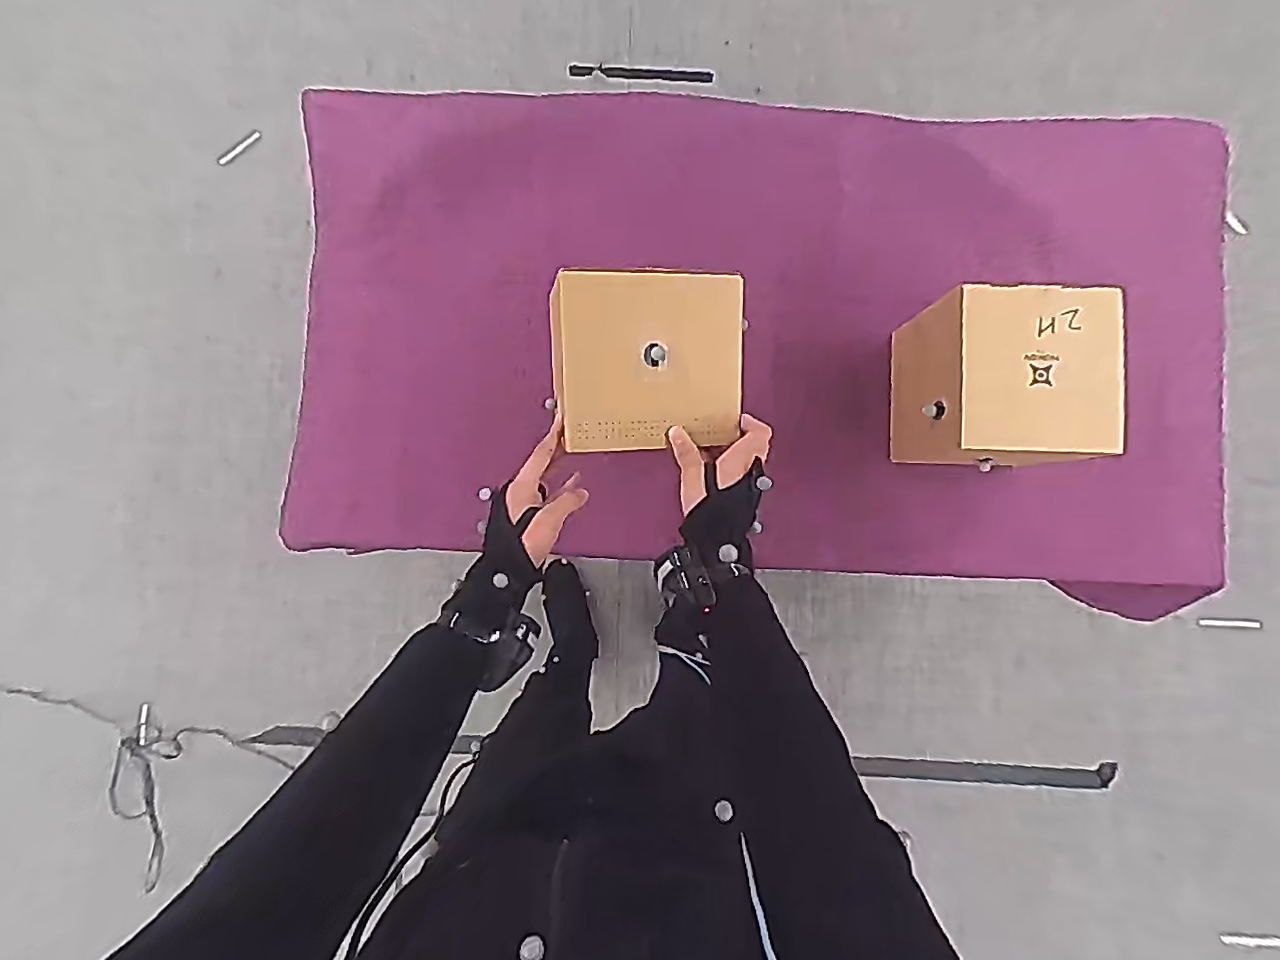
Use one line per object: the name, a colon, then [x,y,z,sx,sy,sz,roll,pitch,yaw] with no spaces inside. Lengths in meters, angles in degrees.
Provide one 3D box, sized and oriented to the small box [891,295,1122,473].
small box: [0.416,-0.101,0.640,0.168,0.176,0.179,3,87,1]
